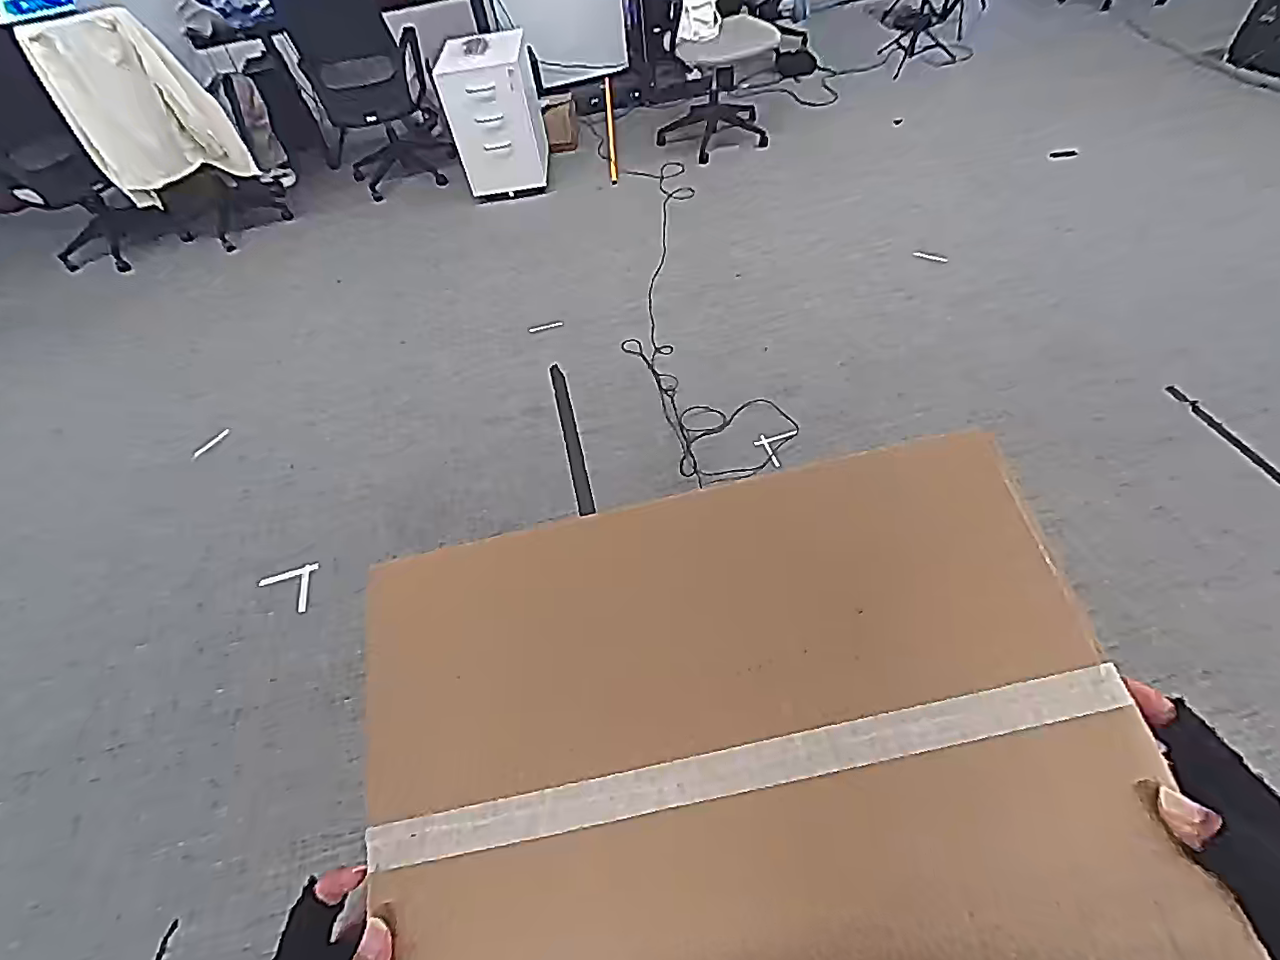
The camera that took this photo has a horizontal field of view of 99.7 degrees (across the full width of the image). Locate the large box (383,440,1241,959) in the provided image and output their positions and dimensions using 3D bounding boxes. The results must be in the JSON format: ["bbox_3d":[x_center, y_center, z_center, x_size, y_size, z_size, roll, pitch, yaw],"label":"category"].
[{"bbox_3d":[0.072,0.211,0.432,0.408,0.320,0.320,-14,66,2],"label":"large box"}]
